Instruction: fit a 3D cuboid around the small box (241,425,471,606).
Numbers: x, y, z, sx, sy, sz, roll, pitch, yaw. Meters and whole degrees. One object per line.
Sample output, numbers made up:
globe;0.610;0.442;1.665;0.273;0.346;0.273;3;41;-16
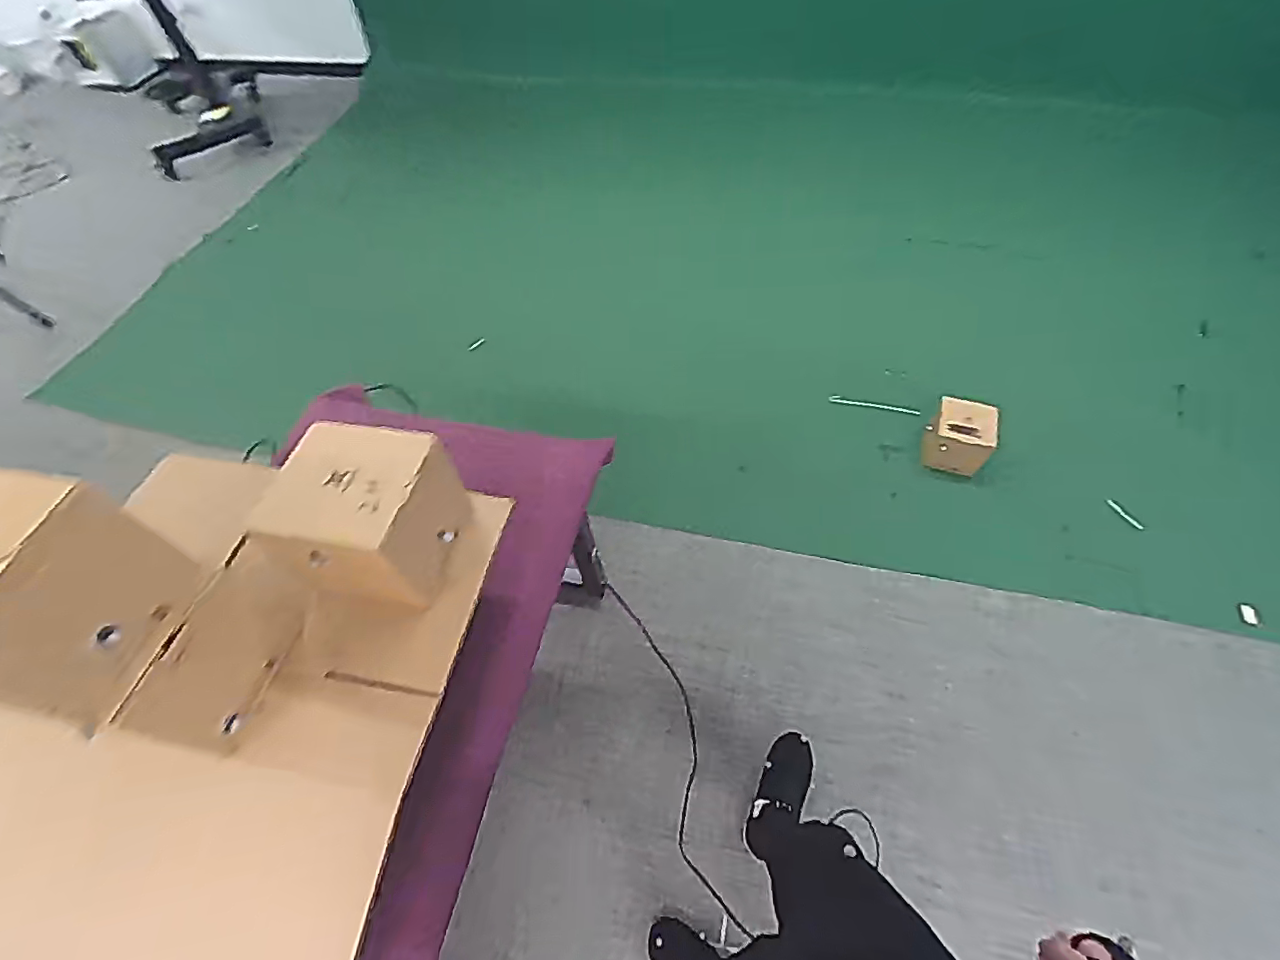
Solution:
small box;-0.351;0.050;0.709;0.179;0.176;0.168;7;56;8

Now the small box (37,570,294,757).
small box;-0.546;0.201;0.611;0.179;0.176;0.168;6;54;8

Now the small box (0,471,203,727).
small box;-0.561;0.106;0.480;0.179;0.176;0.168;6;54;7
